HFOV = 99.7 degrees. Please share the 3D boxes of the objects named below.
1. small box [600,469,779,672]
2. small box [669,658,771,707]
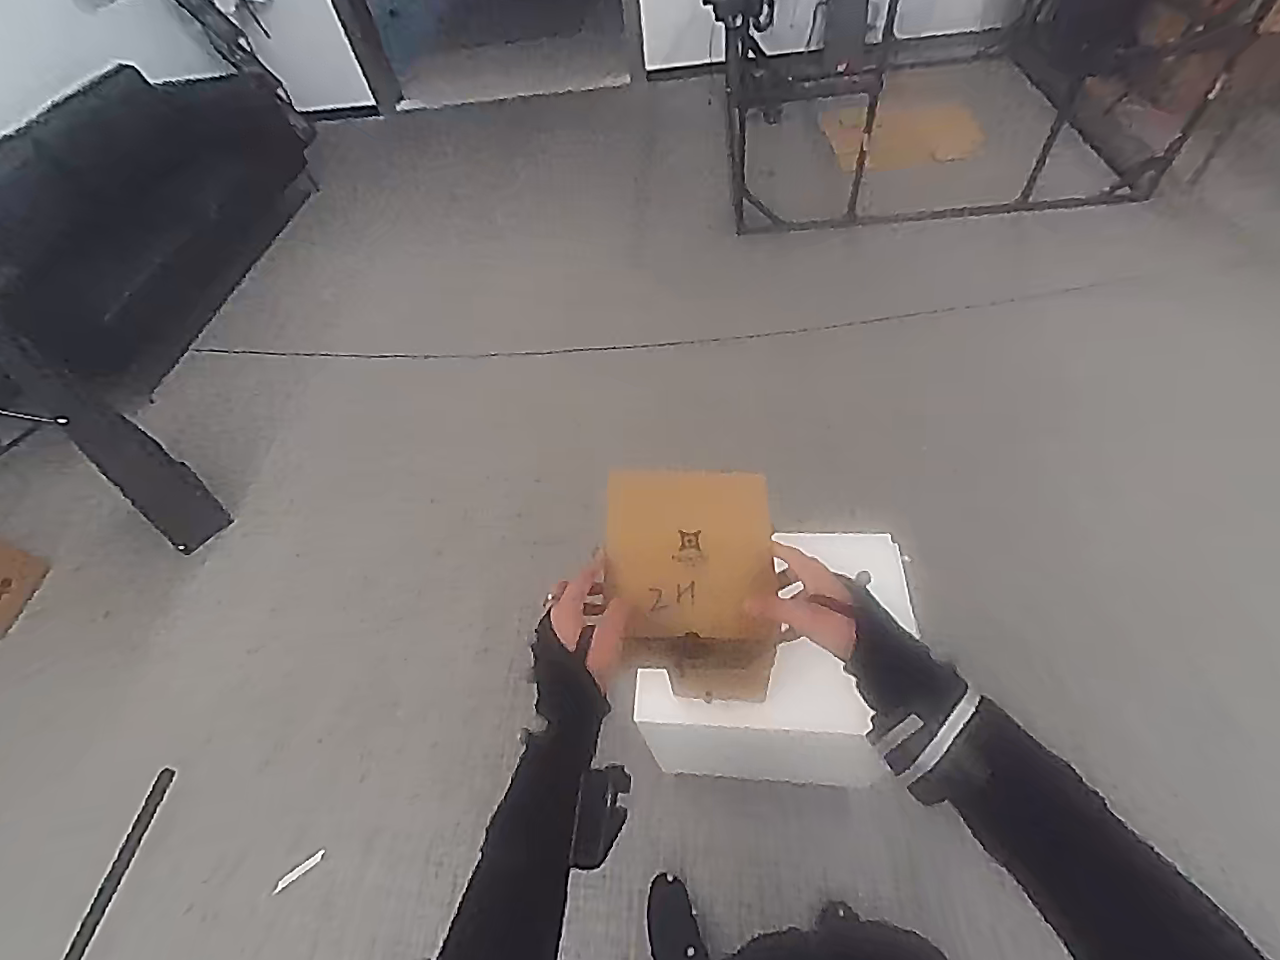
[{"bbox_3d":[0.044,0.105,0.595,0.168,0.176,0.179,2,63,-1],"label":"small box"},{"bbox_3d":[0.139,0.280,0.952,0.168,0.176,0.179,0,53,9],"label":"small box"}]
